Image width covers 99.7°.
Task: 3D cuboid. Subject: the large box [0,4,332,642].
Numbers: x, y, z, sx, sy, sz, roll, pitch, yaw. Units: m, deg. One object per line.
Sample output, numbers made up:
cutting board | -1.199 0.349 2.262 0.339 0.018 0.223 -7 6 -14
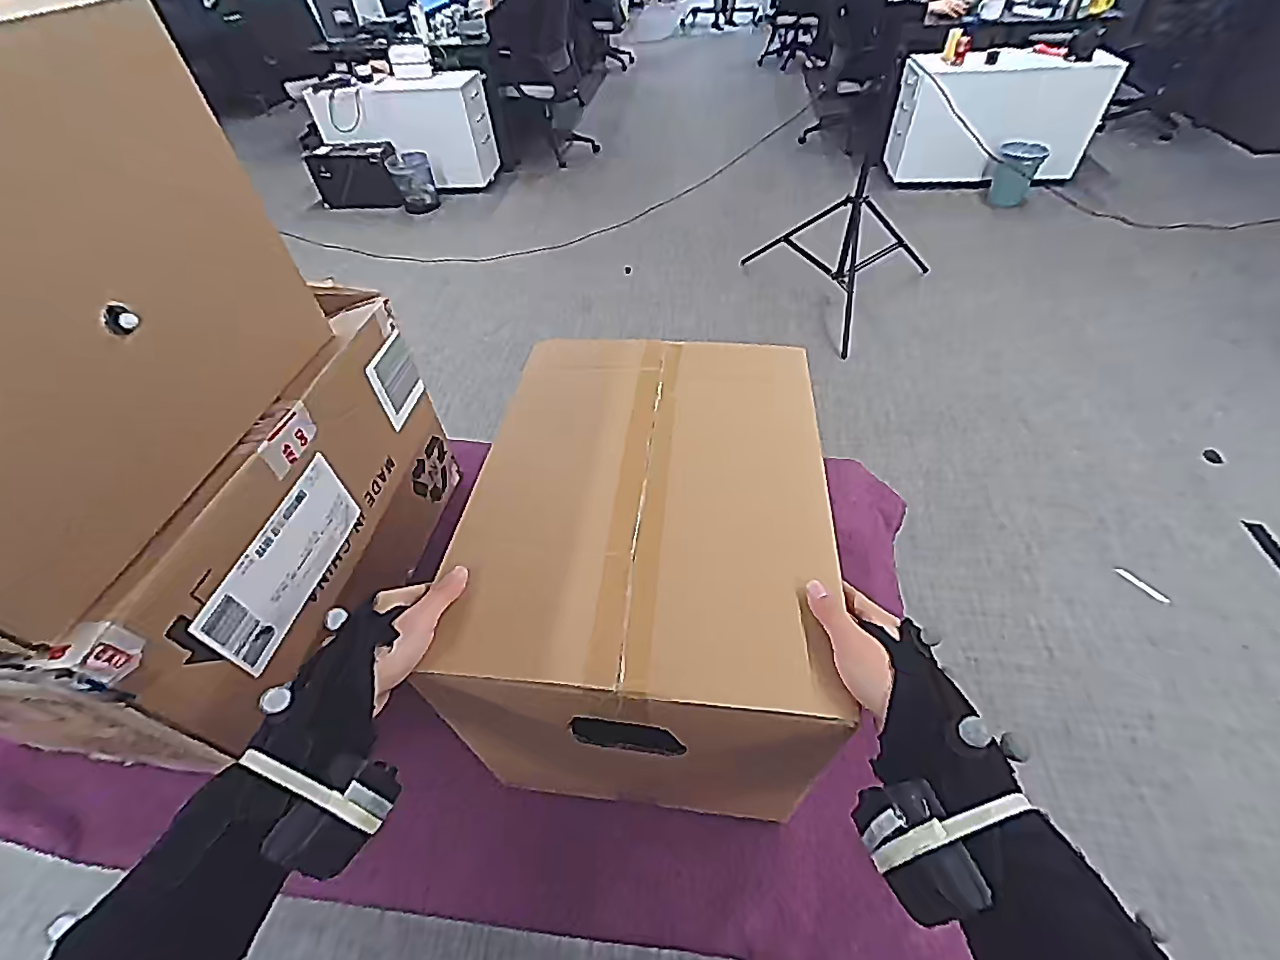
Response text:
large box | -0.539 -0.134 0.427 0.320 0.320 0.408 1 48 8
